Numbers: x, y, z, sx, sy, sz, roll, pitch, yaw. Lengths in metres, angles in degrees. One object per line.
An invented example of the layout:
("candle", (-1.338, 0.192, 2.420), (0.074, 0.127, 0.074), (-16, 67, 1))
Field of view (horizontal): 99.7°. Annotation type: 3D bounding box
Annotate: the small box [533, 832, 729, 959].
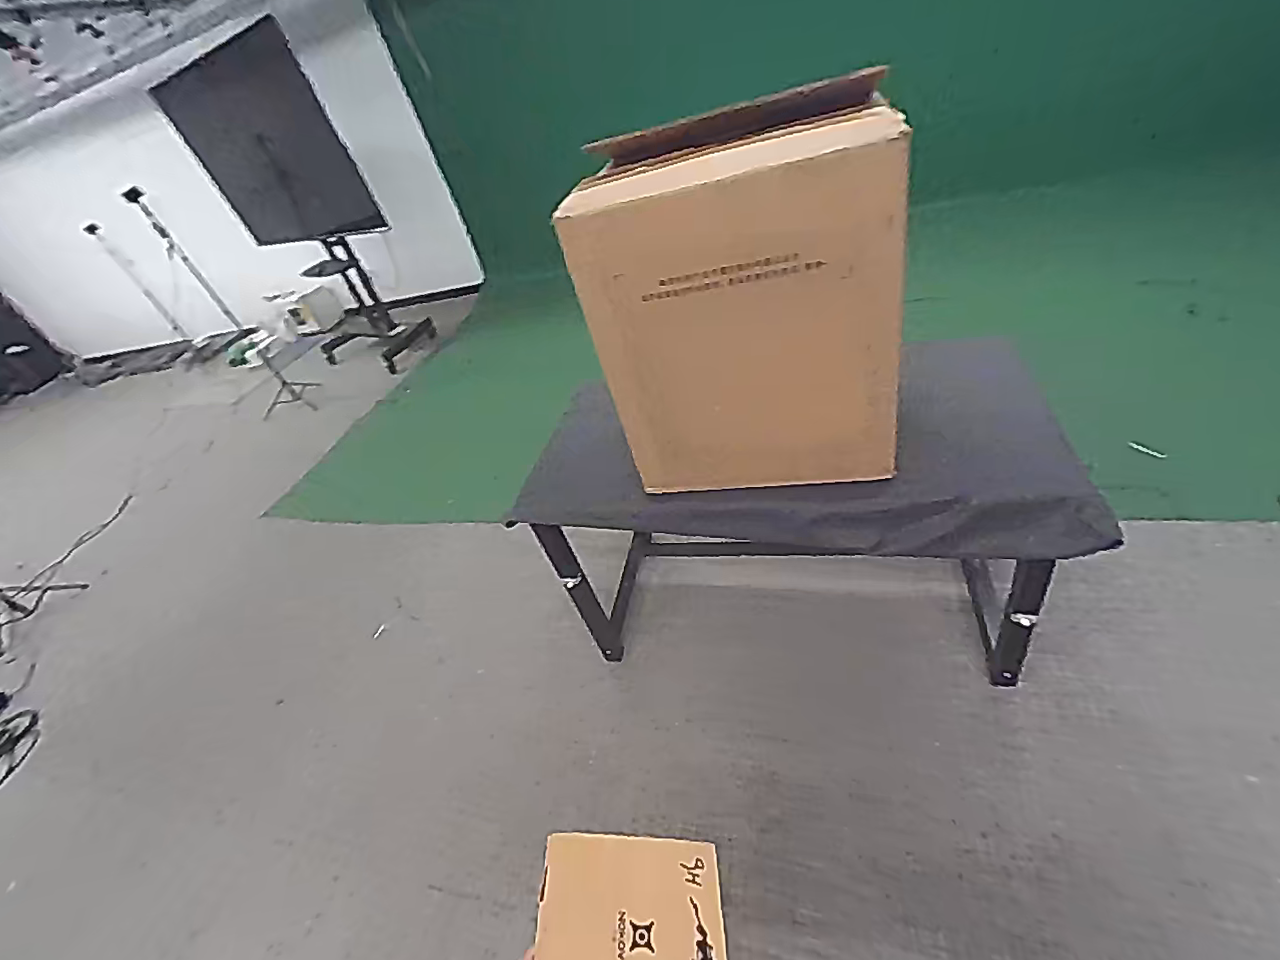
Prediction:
("small box", (-0.015, 0.482, 0.535), (0.179, 0.176, 0.168), (7, 32, -3))
